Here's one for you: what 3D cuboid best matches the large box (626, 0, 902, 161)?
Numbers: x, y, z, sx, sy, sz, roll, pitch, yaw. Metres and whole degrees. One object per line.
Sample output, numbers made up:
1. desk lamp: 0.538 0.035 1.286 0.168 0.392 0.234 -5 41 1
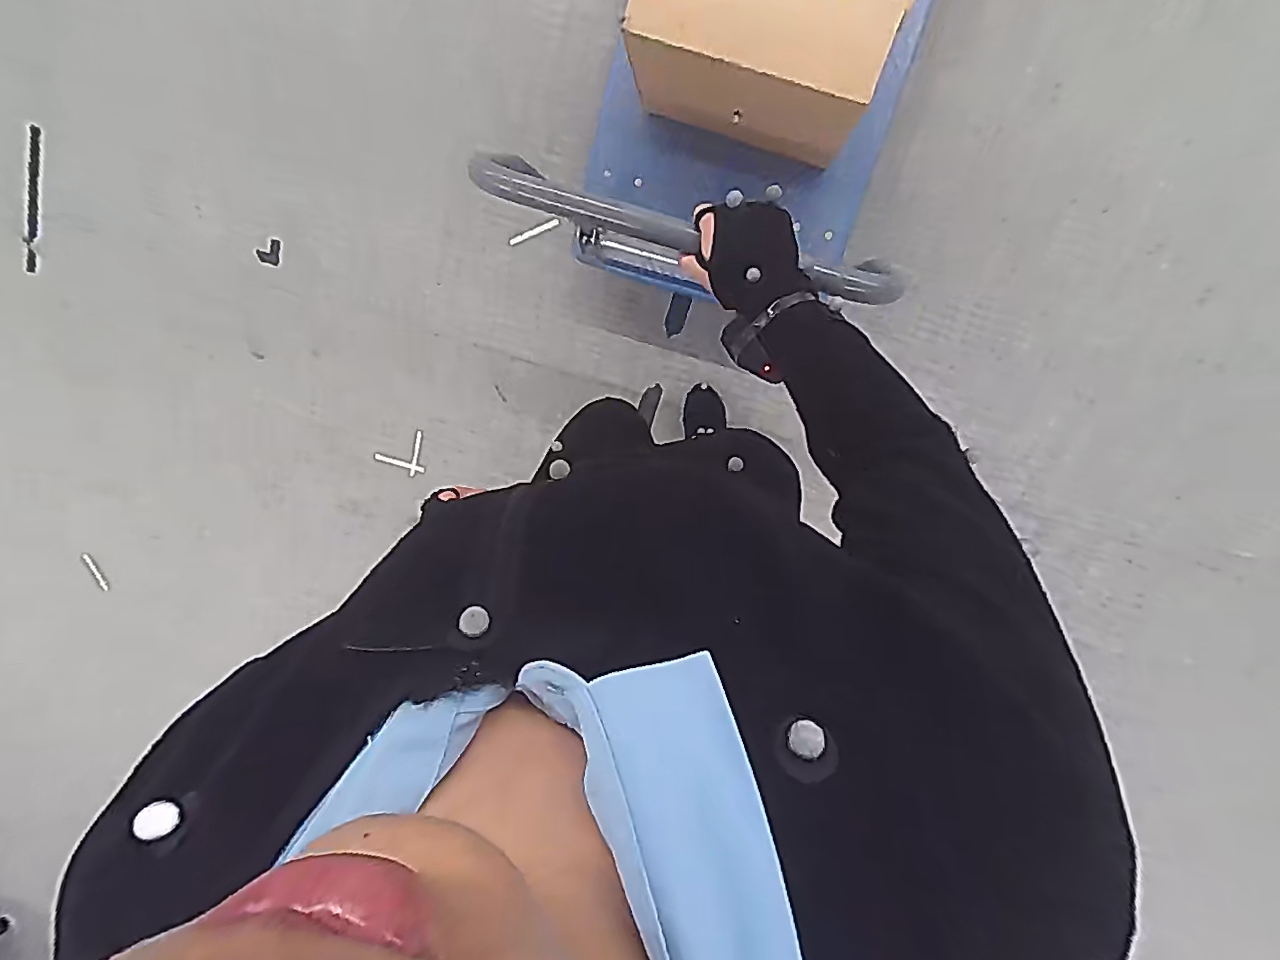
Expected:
1. large box: 0.228 -0.822 0.952 0.408 0.320 0.320 19 104 3
